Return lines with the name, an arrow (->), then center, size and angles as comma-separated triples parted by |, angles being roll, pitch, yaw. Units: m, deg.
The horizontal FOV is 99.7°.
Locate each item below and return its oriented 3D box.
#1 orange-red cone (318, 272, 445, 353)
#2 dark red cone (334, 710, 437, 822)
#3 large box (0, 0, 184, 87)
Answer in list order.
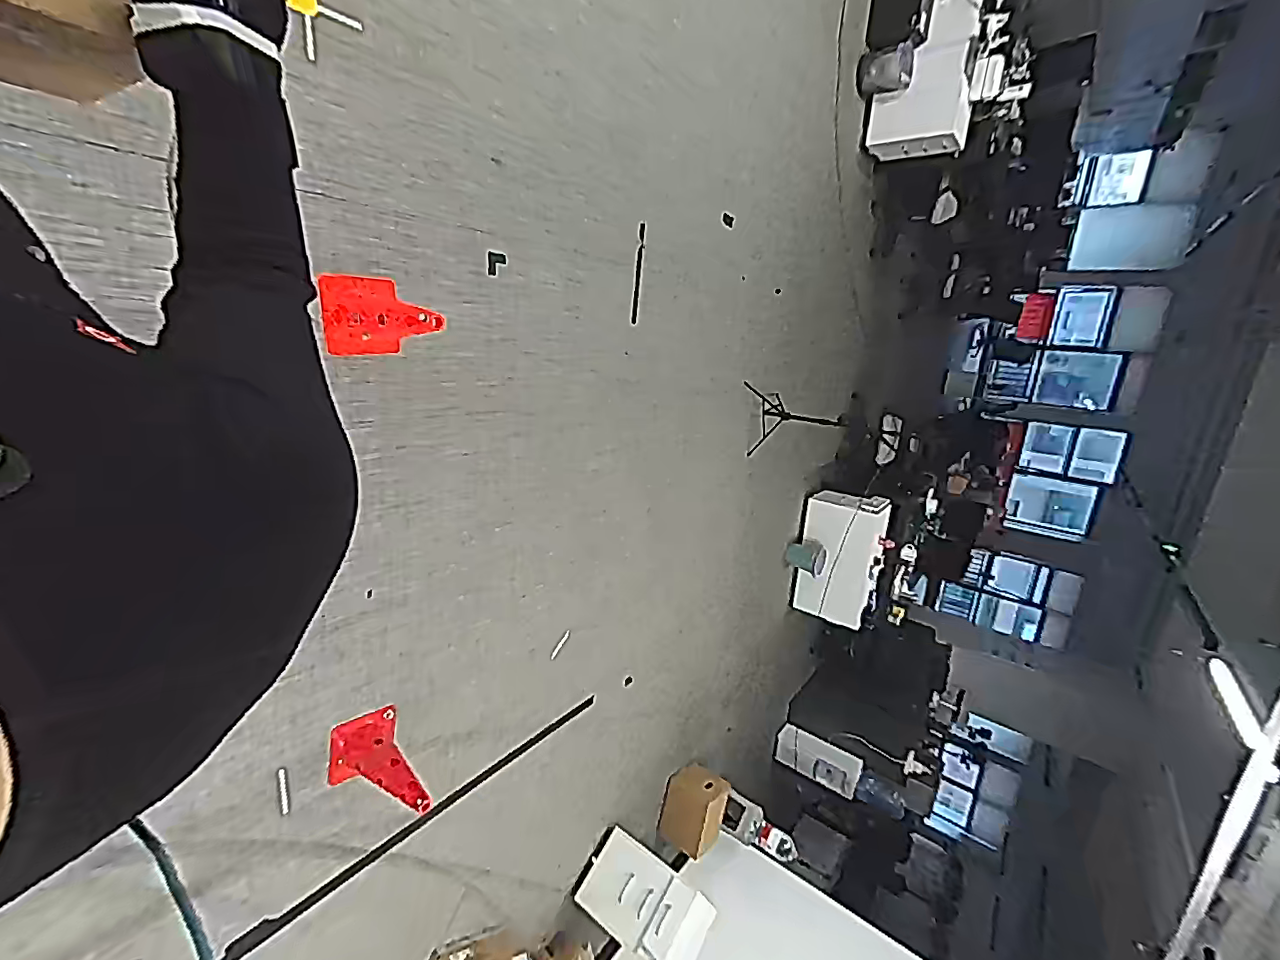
orange-red cone -> -0.598, -0.402, 1.320 | 0.198, 0.360, 0.199 | -19, 116, -51
dark red cone -> -0.718, 0.866, 1.584 | 0.201, 0.394, 0.202 | -5, 107, -52
large box -> -0.532, -0.452, 0.255 | 0.408, 0.320, 0.320 | -15, 119, -52
